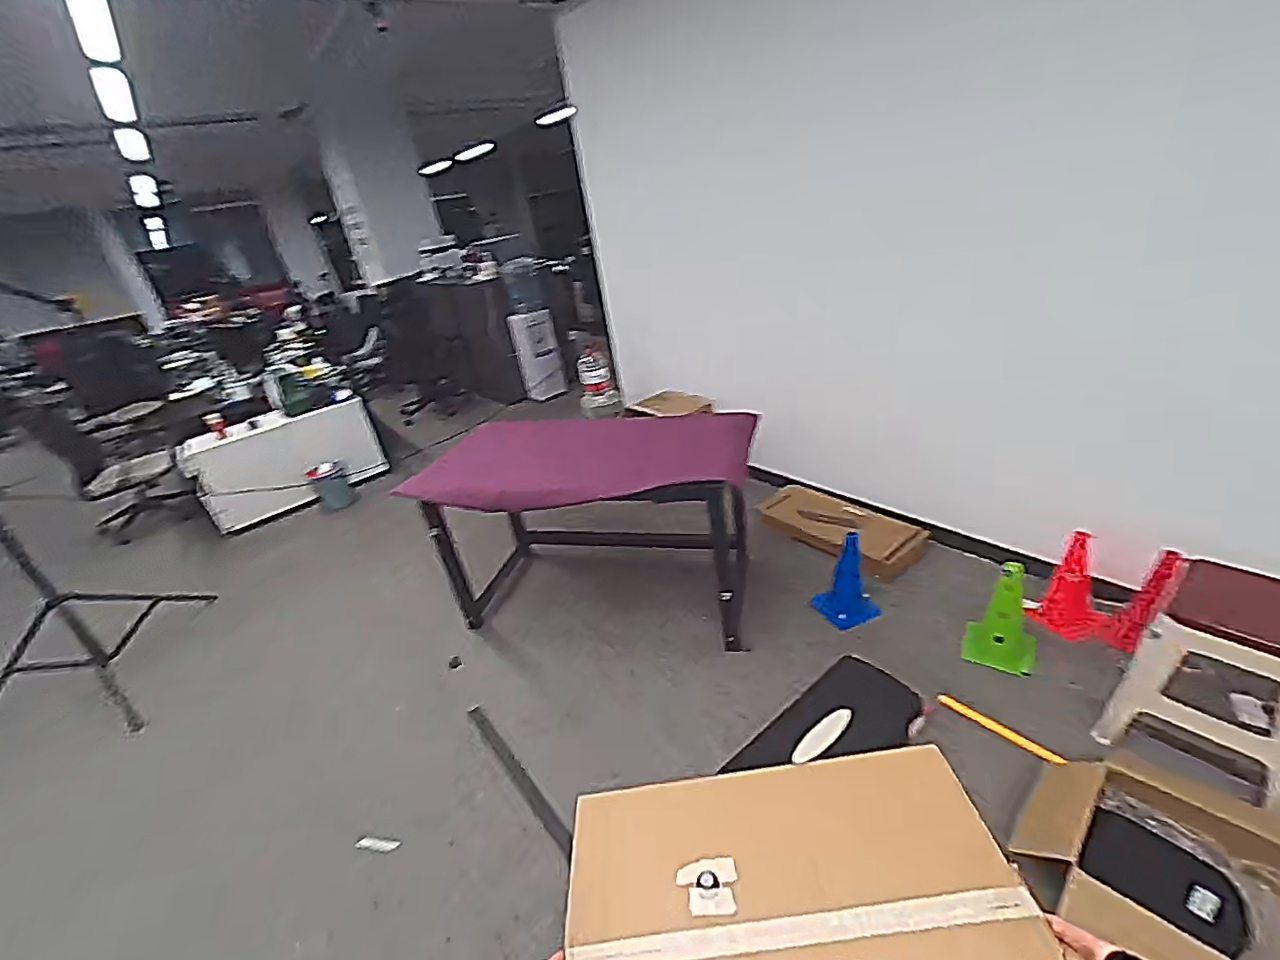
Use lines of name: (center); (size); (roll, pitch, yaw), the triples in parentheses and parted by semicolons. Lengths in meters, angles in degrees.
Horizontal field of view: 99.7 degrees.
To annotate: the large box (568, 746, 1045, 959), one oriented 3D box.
large box: (0.158, 0.534, 0.543); (0.408, 0.320, 0.320); (-11, 26, 2)
